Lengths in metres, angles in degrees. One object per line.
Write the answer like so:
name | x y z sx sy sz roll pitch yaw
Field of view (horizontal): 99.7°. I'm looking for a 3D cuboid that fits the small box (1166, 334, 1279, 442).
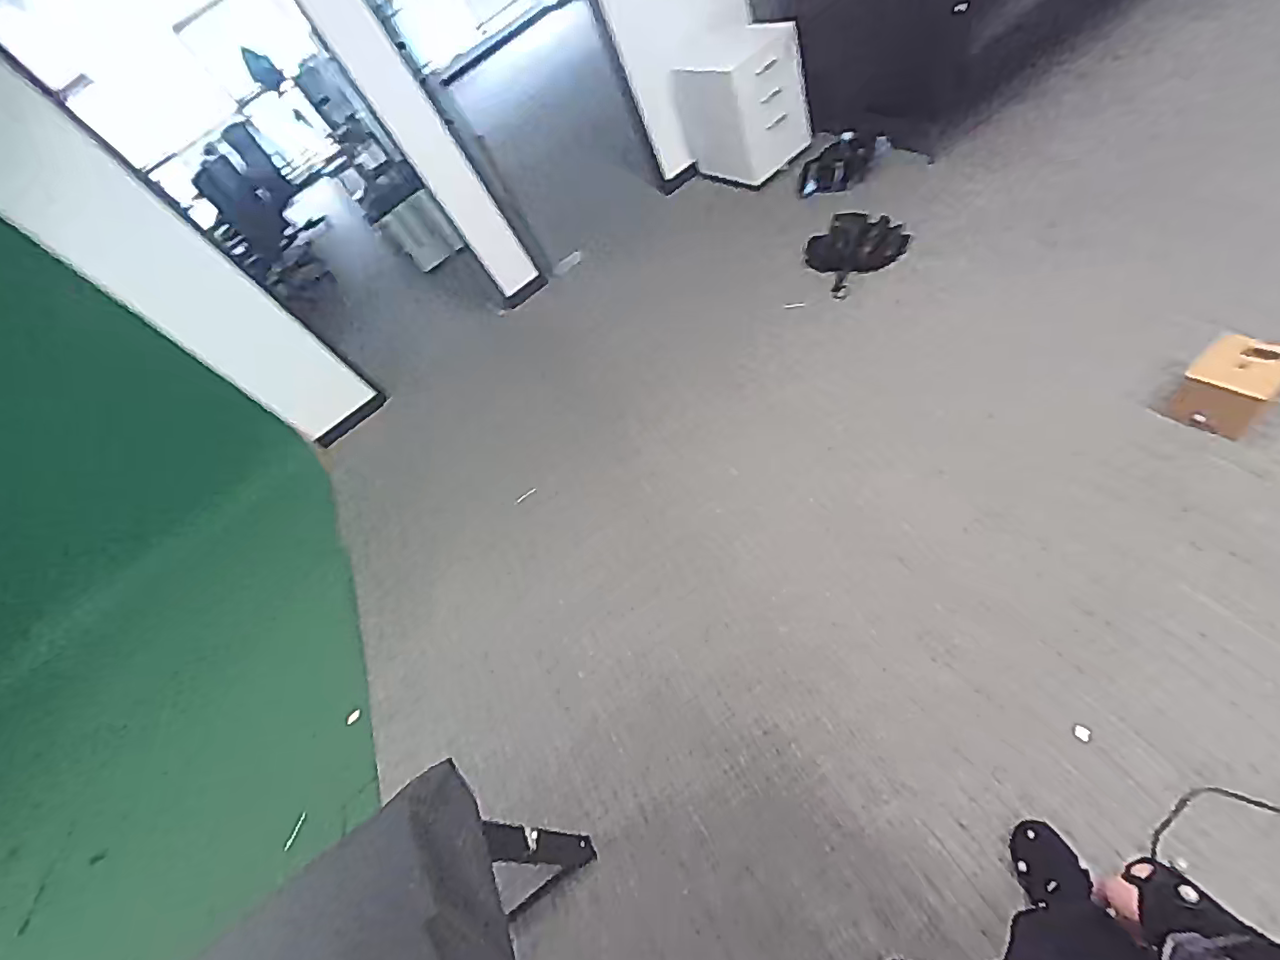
small box | 1.508 -0.234 1.380 0.179 0.176 0.168 -42 47 -5
